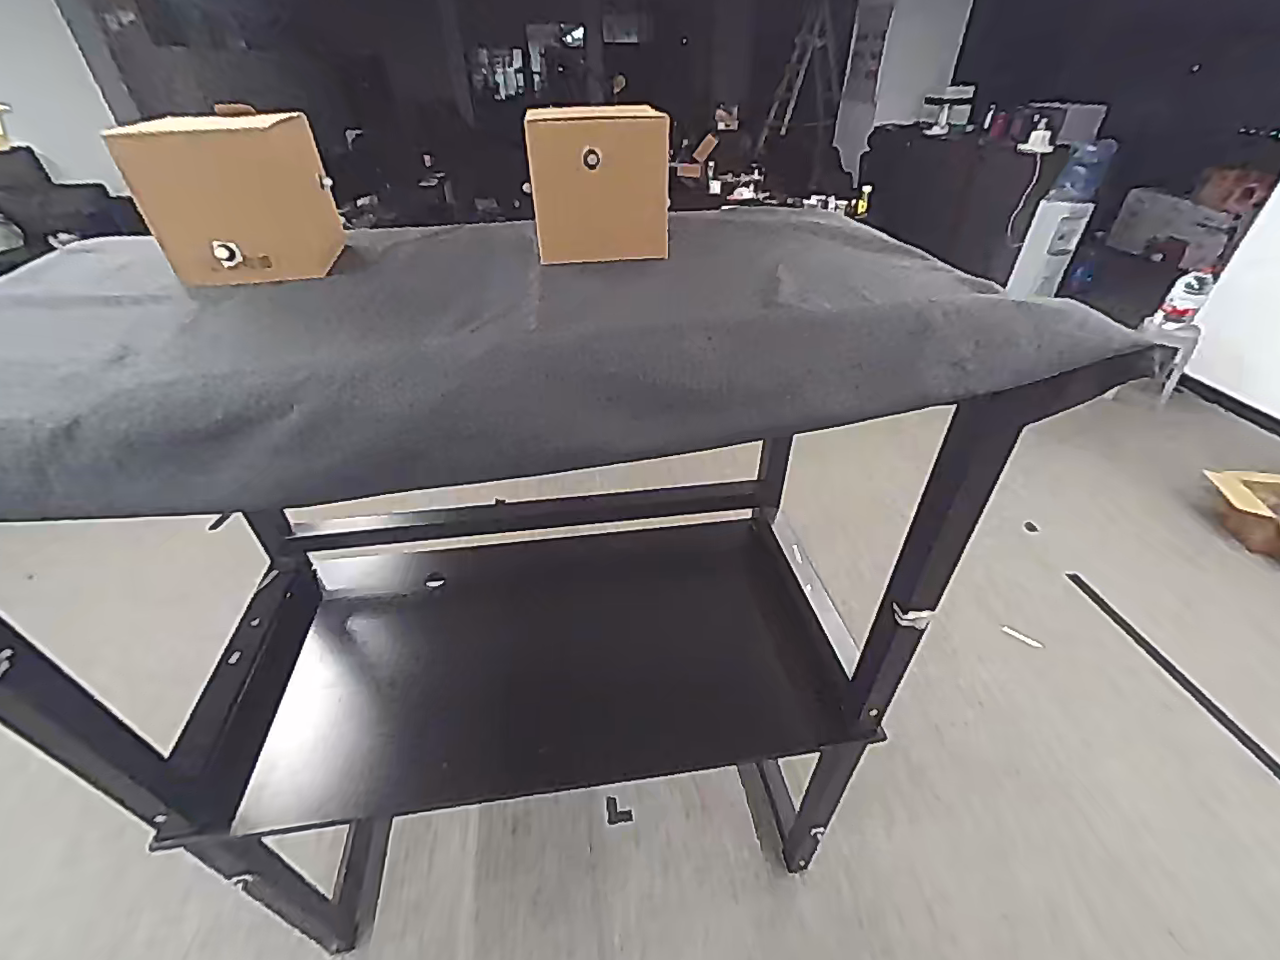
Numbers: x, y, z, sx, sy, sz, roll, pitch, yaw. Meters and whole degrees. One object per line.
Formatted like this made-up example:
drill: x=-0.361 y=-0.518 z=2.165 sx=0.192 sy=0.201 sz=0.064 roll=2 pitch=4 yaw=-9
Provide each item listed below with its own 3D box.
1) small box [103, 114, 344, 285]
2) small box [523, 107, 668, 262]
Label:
small box: x=-0.502 y=-0.360 z=0.691 sx=0.168 sy=0.176 sz=0.179 roll=-10 pitch=38 yaw=-10
small box: x=-0.059 y=-0.409 z=0.748 sx=0.179 sy=0.176 sz=0.168 roll=-5 pitch=38 yaw=-6
